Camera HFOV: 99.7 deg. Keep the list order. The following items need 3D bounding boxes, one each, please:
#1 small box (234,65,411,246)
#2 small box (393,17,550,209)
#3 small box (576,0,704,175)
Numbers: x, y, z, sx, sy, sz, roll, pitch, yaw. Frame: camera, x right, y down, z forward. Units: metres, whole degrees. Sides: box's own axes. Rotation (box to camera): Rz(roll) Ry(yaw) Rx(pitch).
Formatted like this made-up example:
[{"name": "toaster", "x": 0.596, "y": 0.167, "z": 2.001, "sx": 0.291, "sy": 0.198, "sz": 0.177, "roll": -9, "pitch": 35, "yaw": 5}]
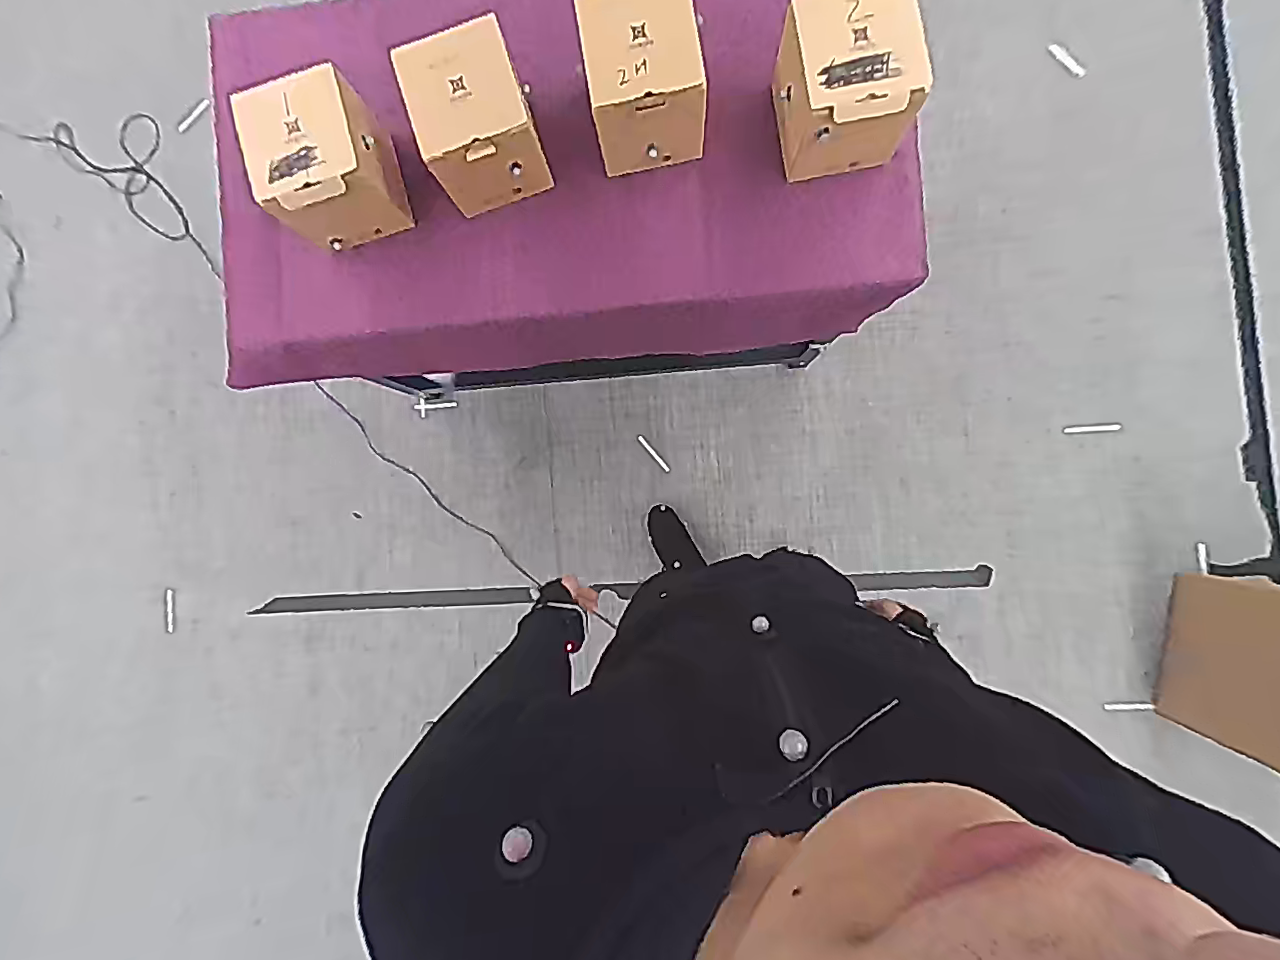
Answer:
[{"name": "small box", "x": -0.500, "y": -0.506, "z": 0.877, "sx": 0.168, "sy": 0.176, "sz": 0.179, "roll": -16, "pitch": 87, "yaw": 3}, {"name": "small box", "x": -0.256, "y": -0.564, "z": 0.864, "sx": 0.168, "sy": 0.176, "sz": 0.179, "roll": -17, "pitch": 87, "yaw": 3}, {"name": "small box", "x": 0.003, "y": -0.620, "z": 0.846, "sx": 0.168, "sy": 0.176, "sz": 0.179, "roll": -9, "pitch": 88, "yaw": 4}]
